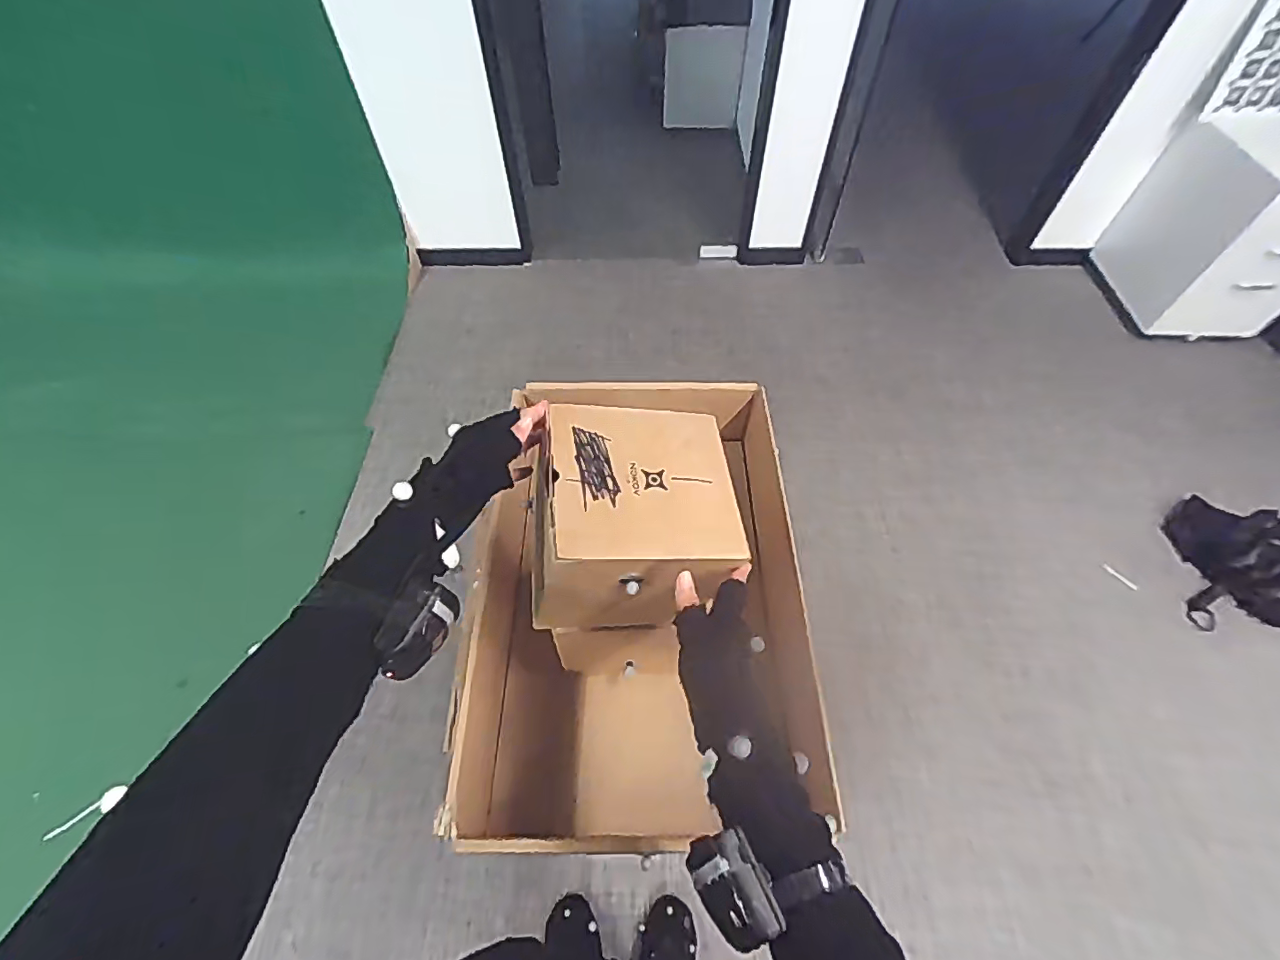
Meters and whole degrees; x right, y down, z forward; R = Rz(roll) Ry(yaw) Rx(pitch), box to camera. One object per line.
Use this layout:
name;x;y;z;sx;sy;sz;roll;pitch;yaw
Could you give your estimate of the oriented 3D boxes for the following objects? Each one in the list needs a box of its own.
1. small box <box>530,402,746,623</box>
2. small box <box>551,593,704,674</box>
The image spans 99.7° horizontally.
small box;-0.019;0.041;0.557;0.179;0.176;0.168;3;56;-18
small box;-0.017;0.150;0.718;0.179;0.176;0.168;0;54;-2
